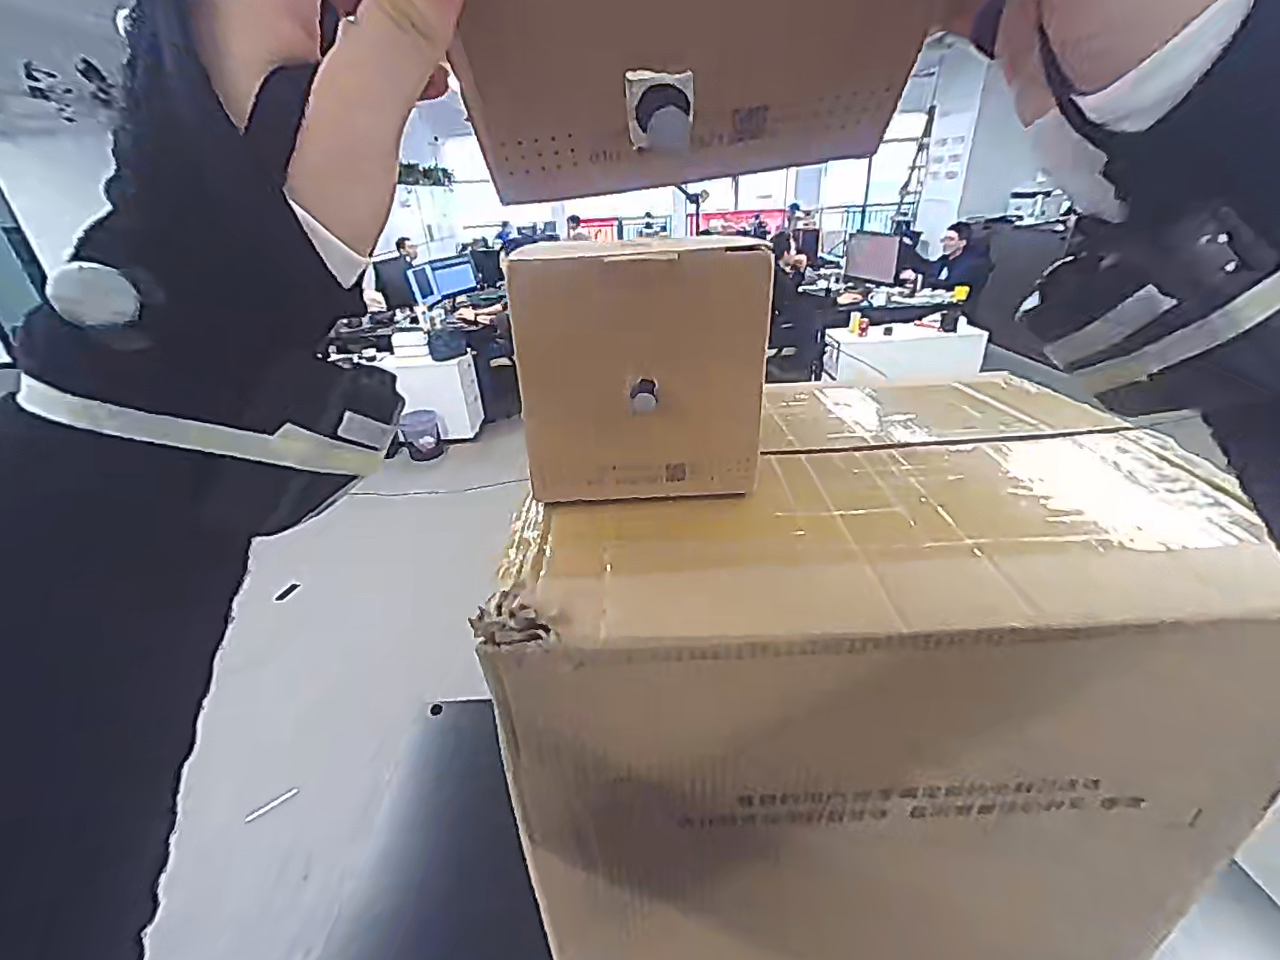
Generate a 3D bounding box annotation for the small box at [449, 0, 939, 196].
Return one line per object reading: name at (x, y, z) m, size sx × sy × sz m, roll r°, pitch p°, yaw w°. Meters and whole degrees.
small box at (0.008, -0.235, 0.180) m, size 0.168 × 0.176 × 0.179 m, roll -10°, pitch 72°, yaw 0°

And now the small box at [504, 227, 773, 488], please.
small box at (0.001, -0.100, 0.429) m, size 0.168 × 0.176 × 0.179 m, roll -3°, pitch 27°, yaw -1°
